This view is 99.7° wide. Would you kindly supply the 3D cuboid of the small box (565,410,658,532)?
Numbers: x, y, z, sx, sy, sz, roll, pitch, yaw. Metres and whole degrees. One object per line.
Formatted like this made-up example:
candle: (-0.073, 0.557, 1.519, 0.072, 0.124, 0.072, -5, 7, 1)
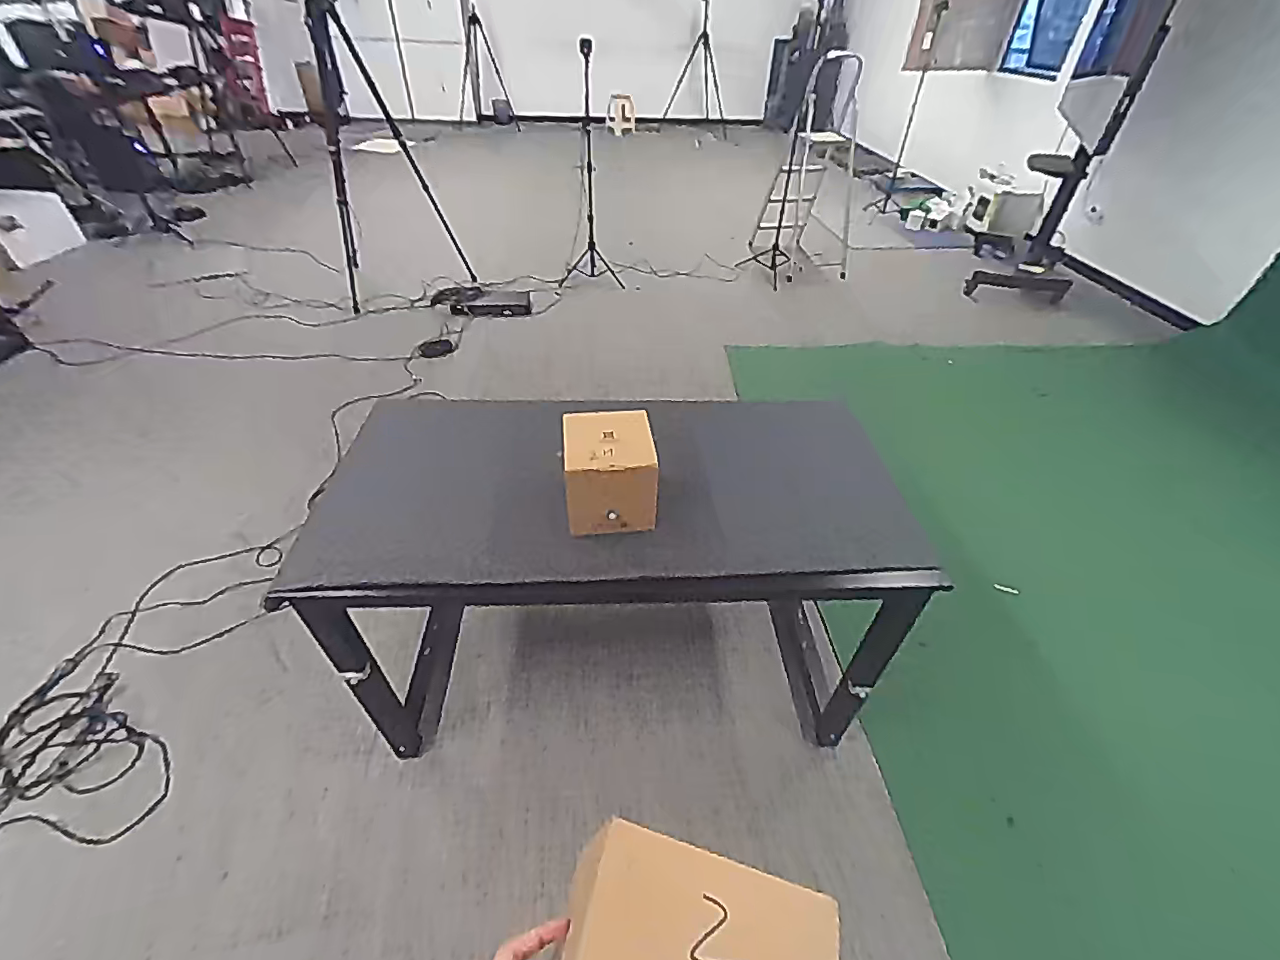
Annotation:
small box: (-0.060, -0.019, 1.051, 0.168, 0.176, 0.179, -4, 41, -6)
